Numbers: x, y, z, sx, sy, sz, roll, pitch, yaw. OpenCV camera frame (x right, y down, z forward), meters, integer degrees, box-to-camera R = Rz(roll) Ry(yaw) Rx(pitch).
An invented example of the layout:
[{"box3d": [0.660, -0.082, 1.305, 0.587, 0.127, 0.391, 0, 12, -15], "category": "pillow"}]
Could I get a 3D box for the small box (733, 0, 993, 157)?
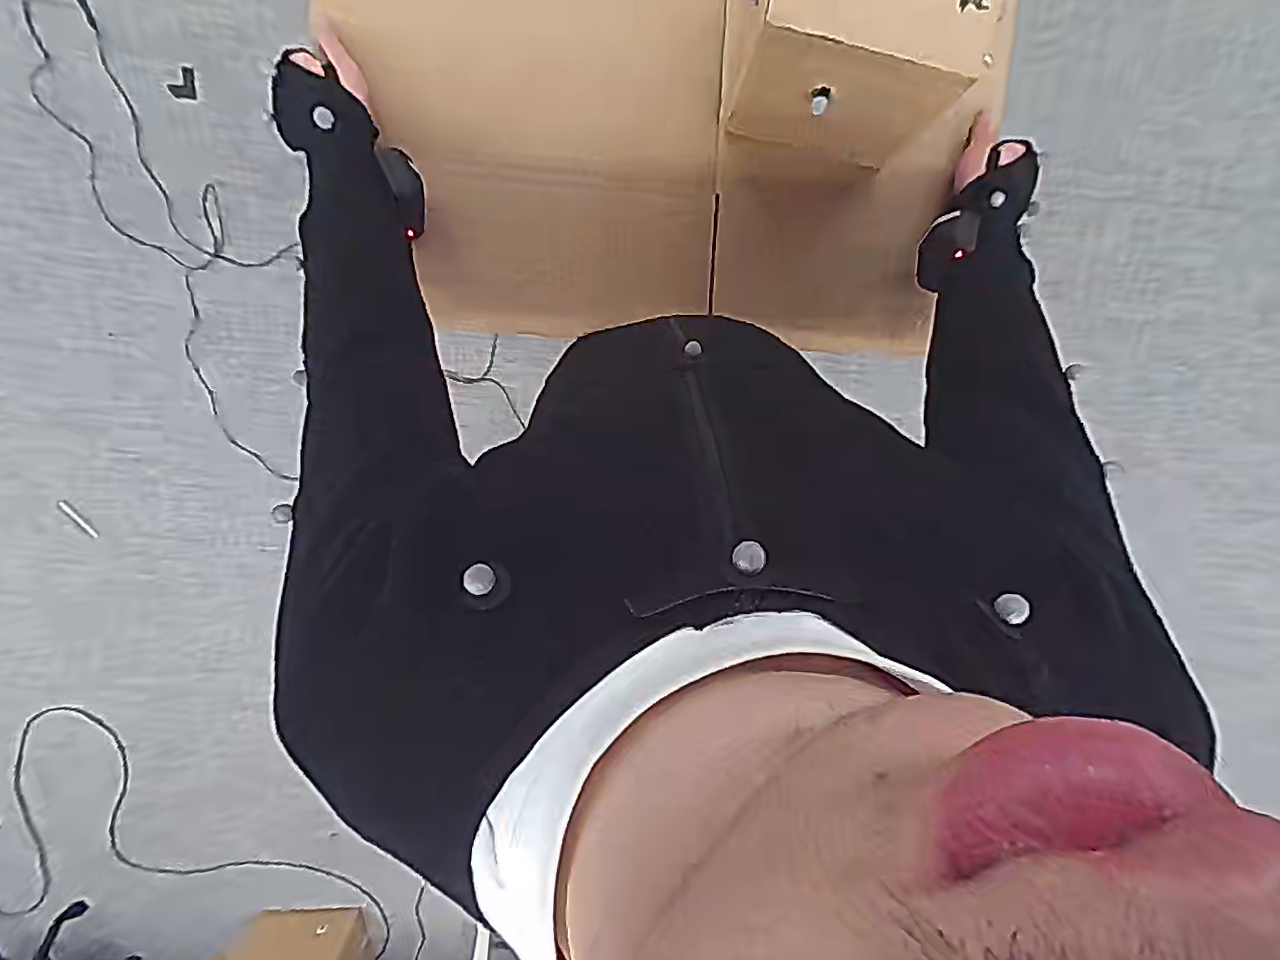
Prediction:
[{"box3d": [0.193, -0.423, 0.486, 0.179, 0.176, 0.168, 12, 99, -2], "category": "small box"}]
